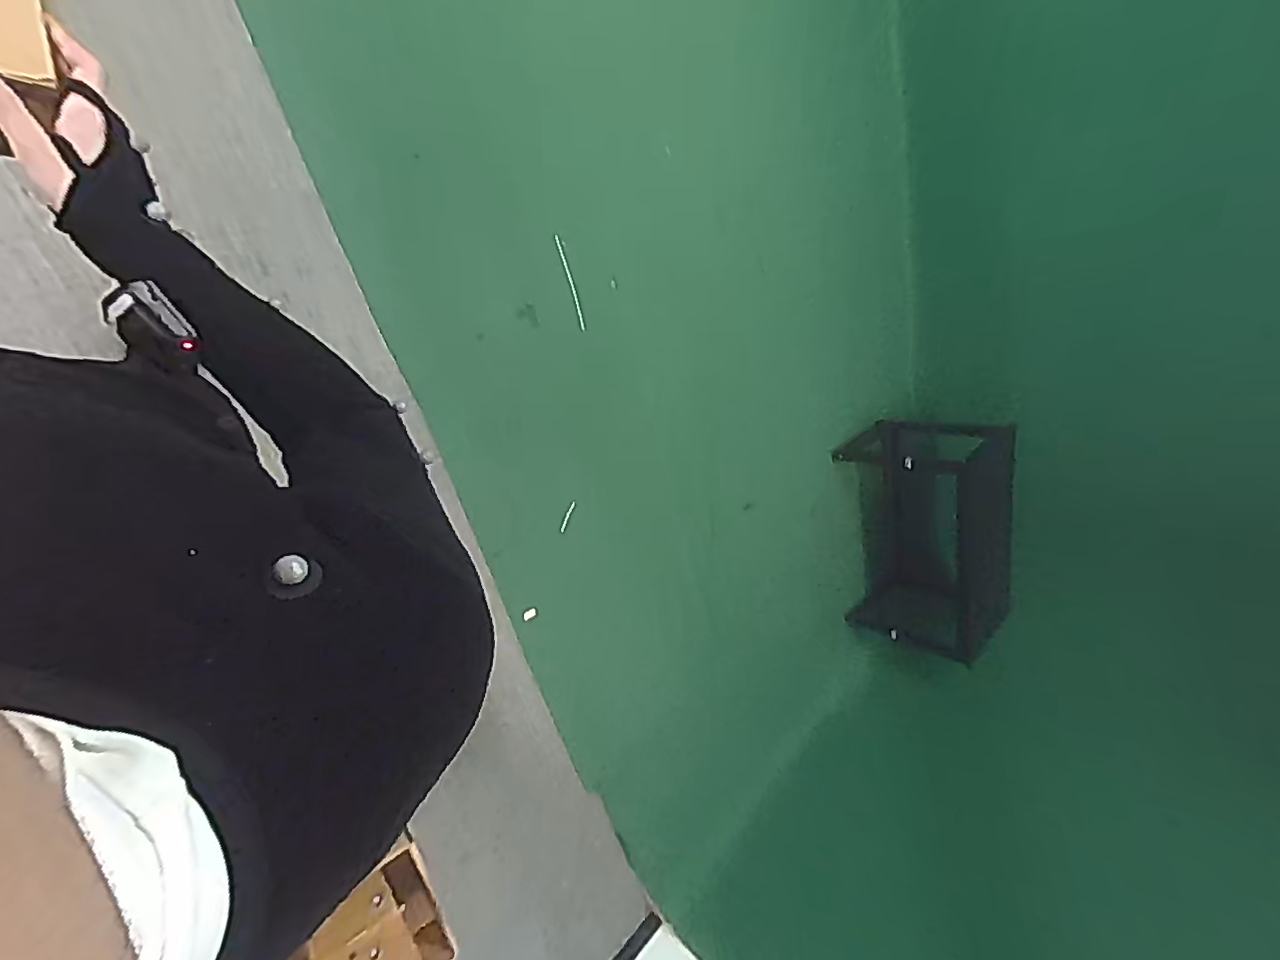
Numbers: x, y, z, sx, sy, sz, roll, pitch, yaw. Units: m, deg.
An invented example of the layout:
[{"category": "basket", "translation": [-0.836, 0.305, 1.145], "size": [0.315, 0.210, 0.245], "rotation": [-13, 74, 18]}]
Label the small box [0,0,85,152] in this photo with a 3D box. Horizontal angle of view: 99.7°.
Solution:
[{"category": "small box", "translation": [-0.565, -0.391, 0.413], "size": [0.168, 0.176, 0.179], "rotation": [-11, 102, -38]}]

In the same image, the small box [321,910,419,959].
[{"category": "small box", "translation": [-0.524, 1.030, 1.081], "size": [0.168, 0.176, 0.179], "rotation": [-22, 112, -36]}]
